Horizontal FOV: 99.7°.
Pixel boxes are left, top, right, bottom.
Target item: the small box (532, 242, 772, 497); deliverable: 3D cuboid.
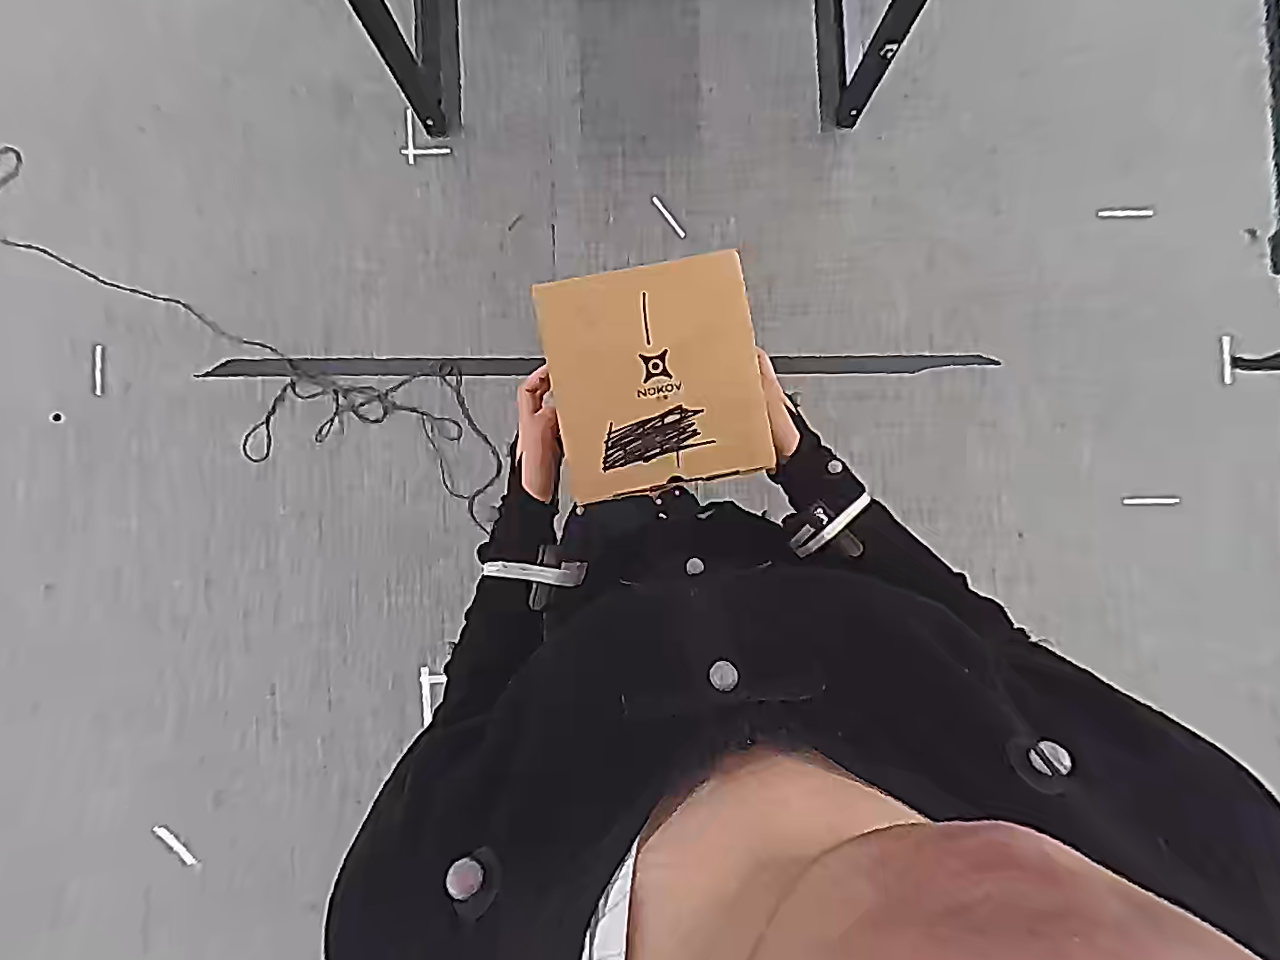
[{"bbox_3d":[0.009,-0.090,0.499,0.168,0.176,0.179,-11,93,-2],"label":"small box"}]
